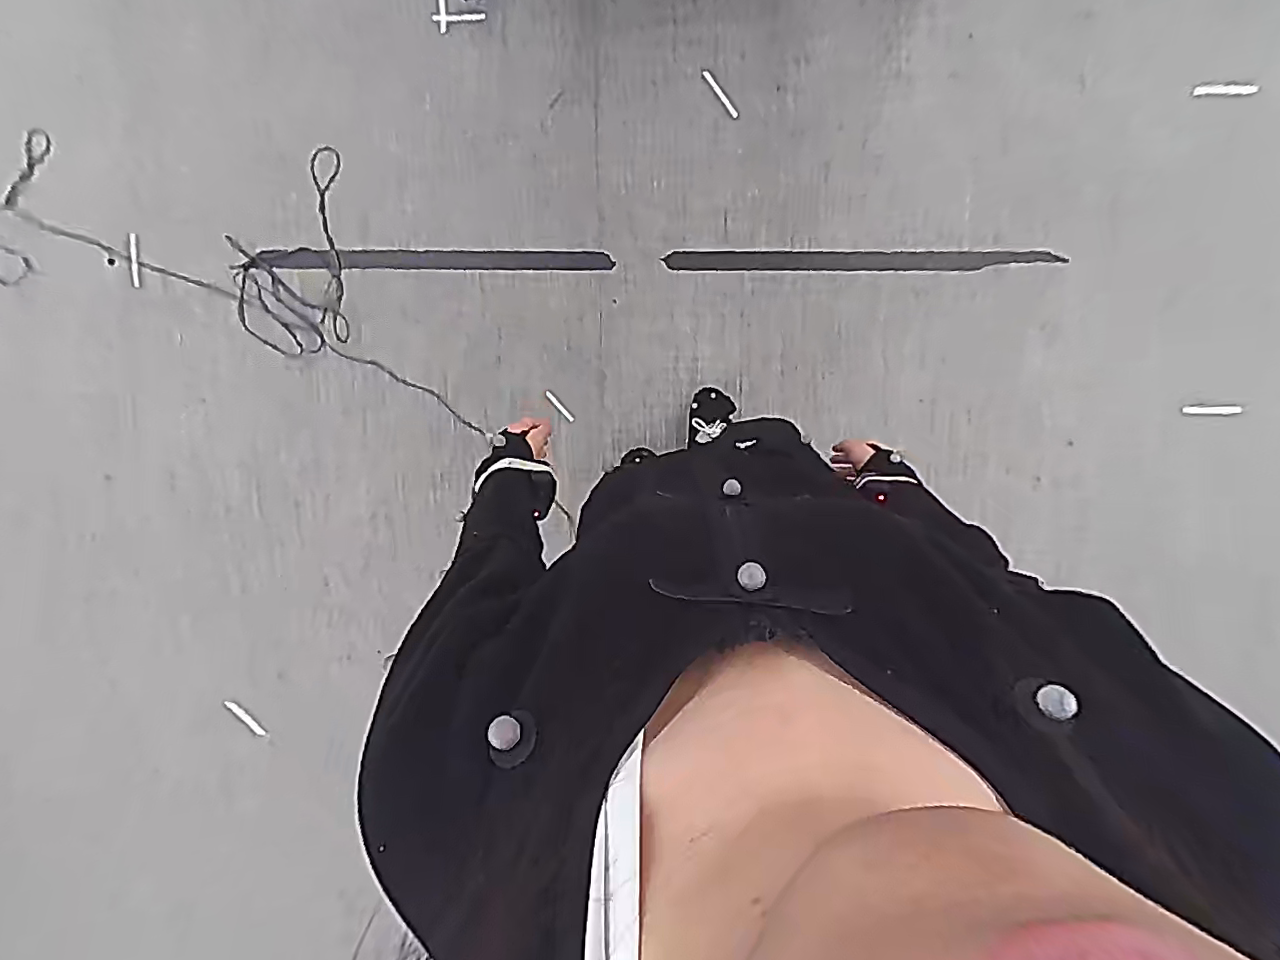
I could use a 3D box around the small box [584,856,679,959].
[{"bbox_3d":[-0.019,0.861,1.031,0.168,0.176,0.179,5,95,1],"label":"small box"}]
